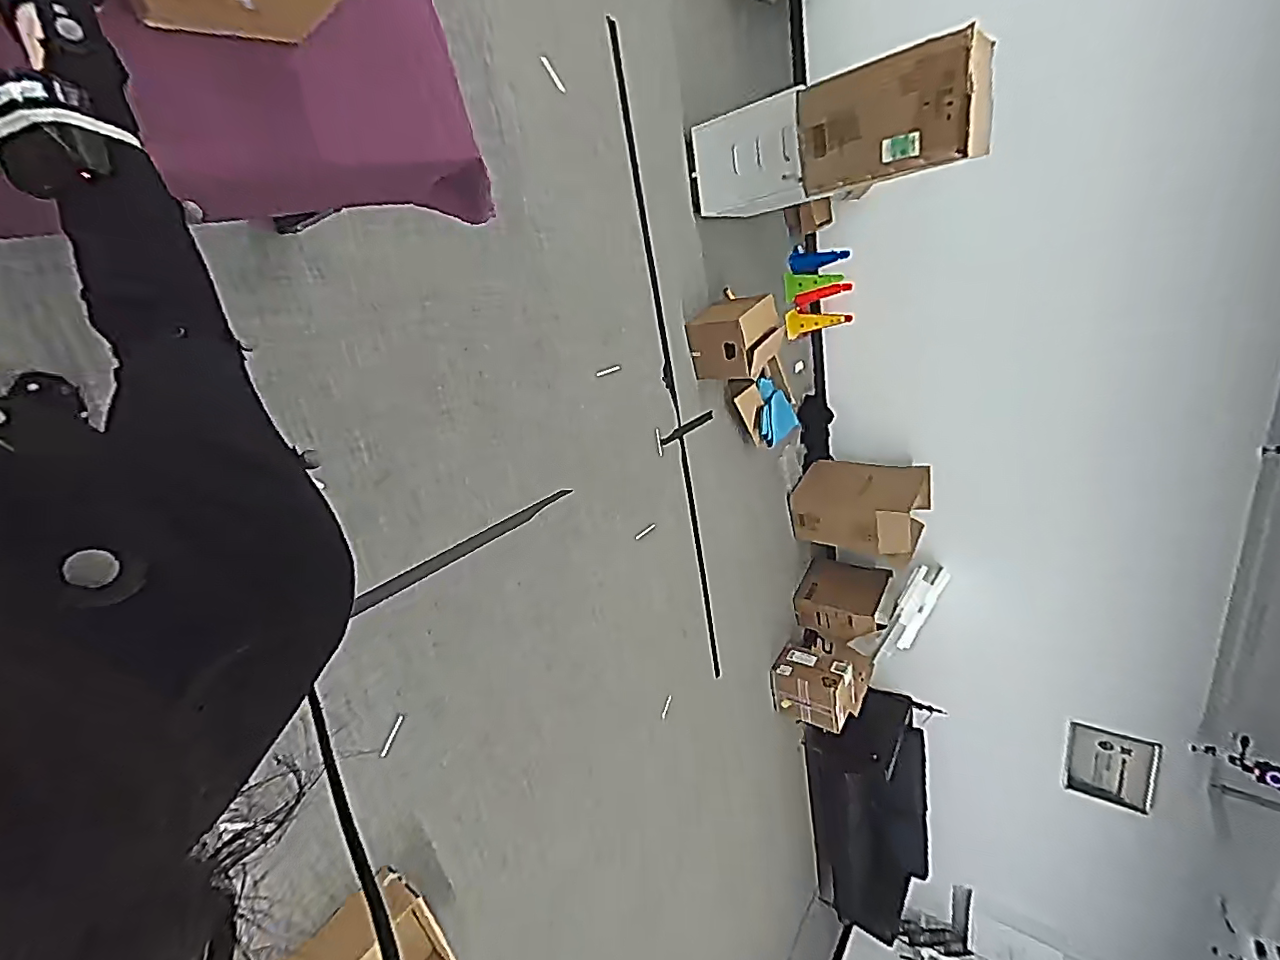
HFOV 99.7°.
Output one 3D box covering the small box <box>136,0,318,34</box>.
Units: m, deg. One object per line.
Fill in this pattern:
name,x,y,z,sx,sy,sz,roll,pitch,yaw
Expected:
small box,-0.454,-0.610,0.571,0.179,0.176,0.168,-37,122,-43
